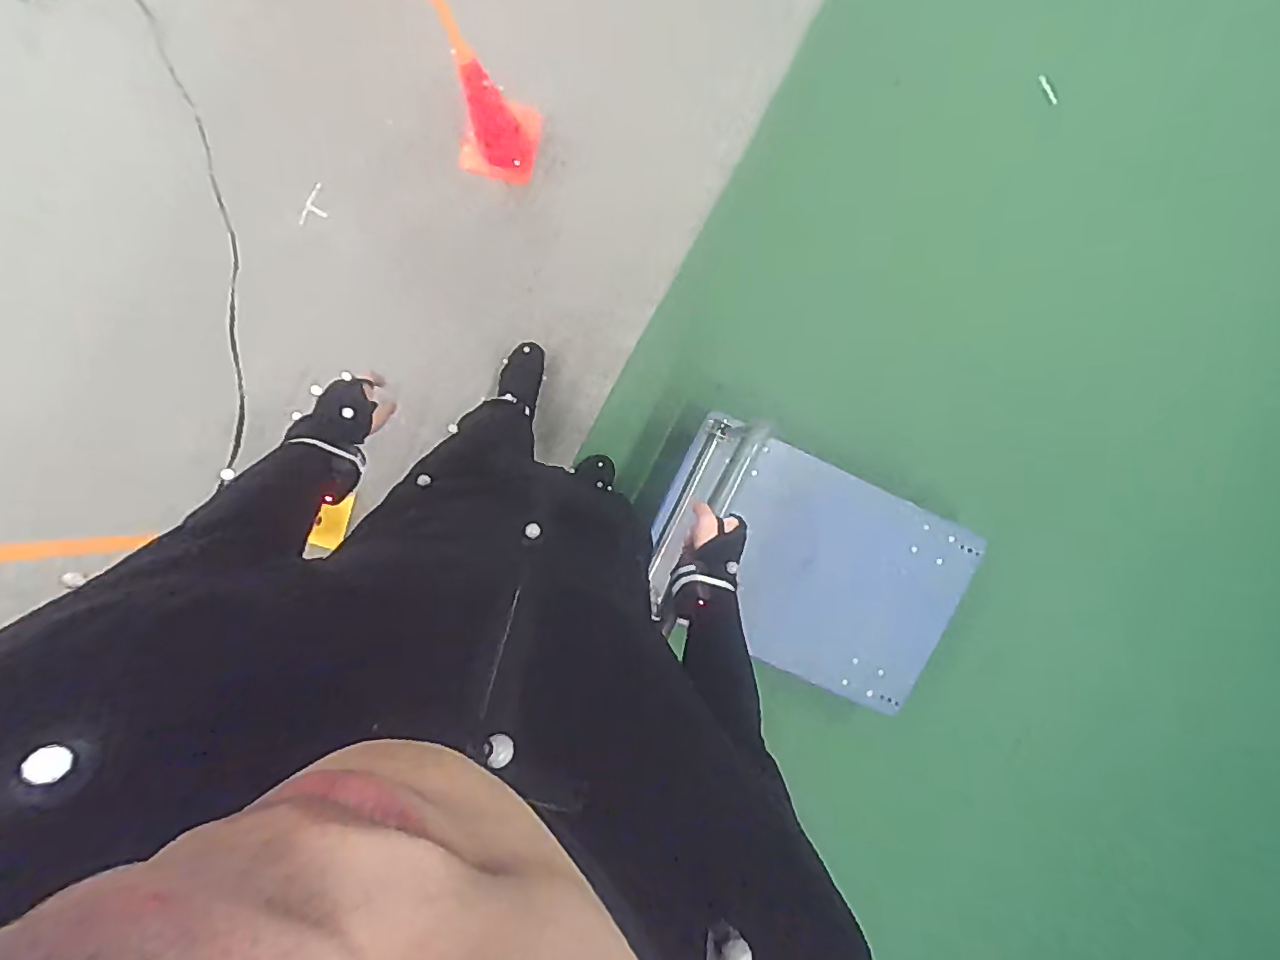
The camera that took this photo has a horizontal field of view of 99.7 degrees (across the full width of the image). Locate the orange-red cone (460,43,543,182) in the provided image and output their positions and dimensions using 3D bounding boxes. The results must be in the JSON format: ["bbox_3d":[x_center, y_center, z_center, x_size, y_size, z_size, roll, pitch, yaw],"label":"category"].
[{"bbox_3d":[-0.375,-0.933,1.329,0.198,0.360,0.199,15,94,-4],"label":"orange-red cone"}]
